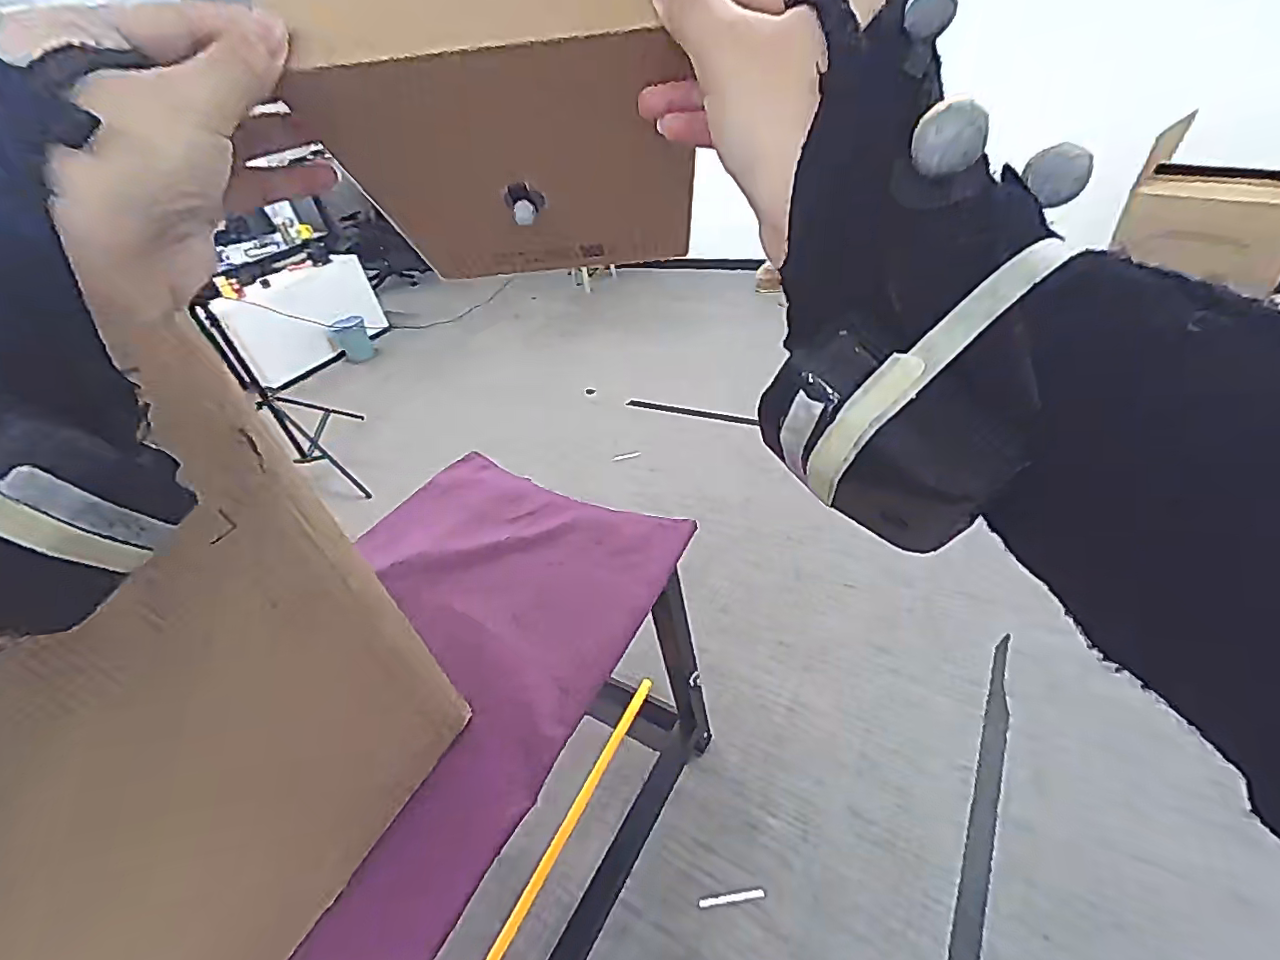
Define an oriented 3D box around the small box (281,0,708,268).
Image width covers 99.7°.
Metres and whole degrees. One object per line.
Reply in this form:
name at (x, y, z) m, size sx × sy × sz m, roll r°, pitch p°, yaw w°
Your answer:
small box at (-0.054, -0.230, 0.288) m, size 0.168 × 0.179 × 0.176 m, roll -4°, pitch -6°, yaw 3°
